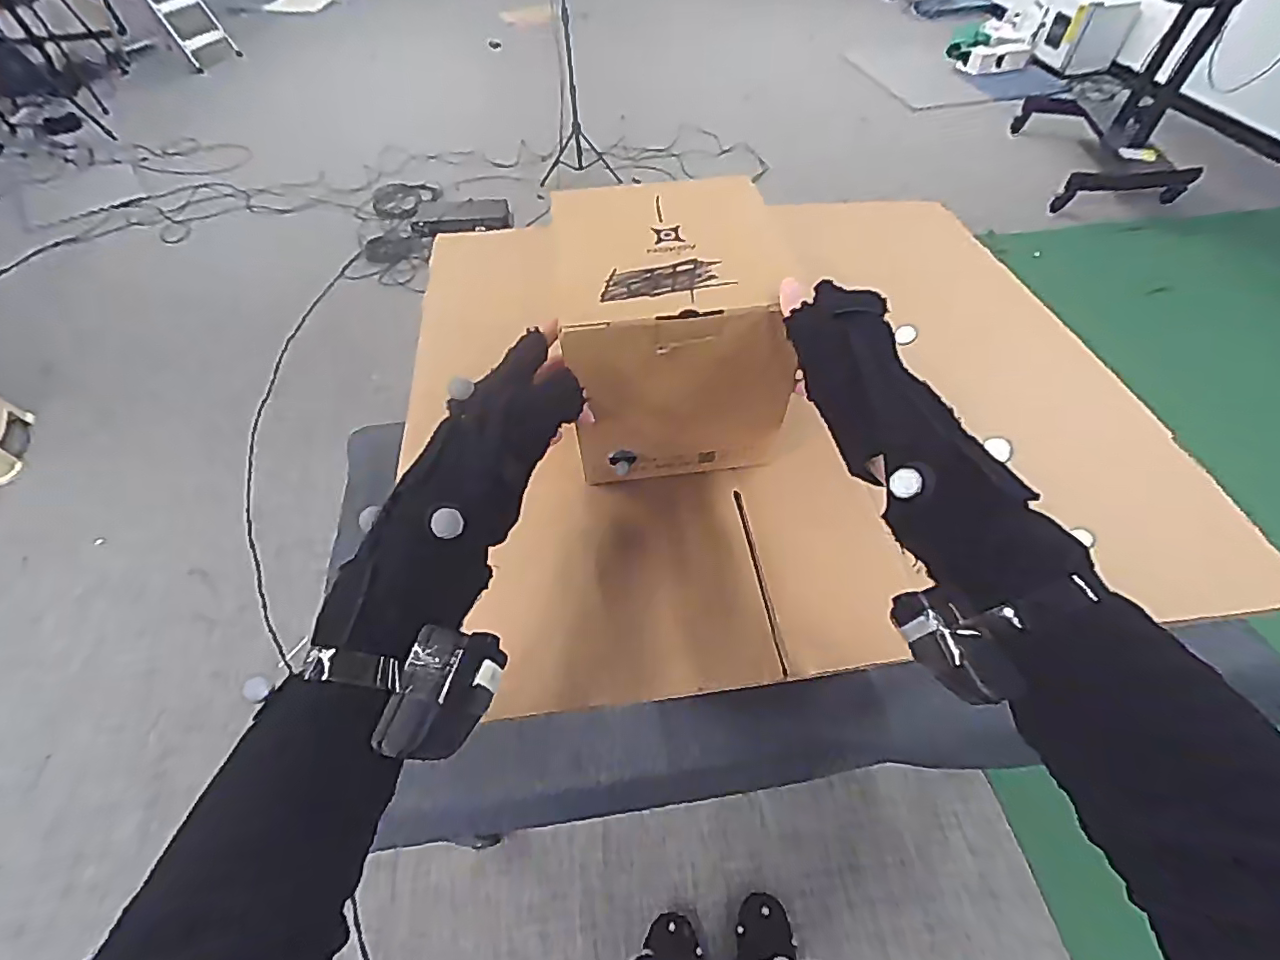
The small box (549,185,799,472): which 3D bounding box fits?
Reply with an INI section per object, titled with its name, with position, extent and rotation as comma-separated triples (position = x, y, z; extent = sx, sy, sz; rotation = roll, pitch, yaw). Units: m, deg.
[small box]
position = 0.018, -0.120, 0.462
extent = 0.168, 0.176, 0.179
rotation = -7, 52, -3
